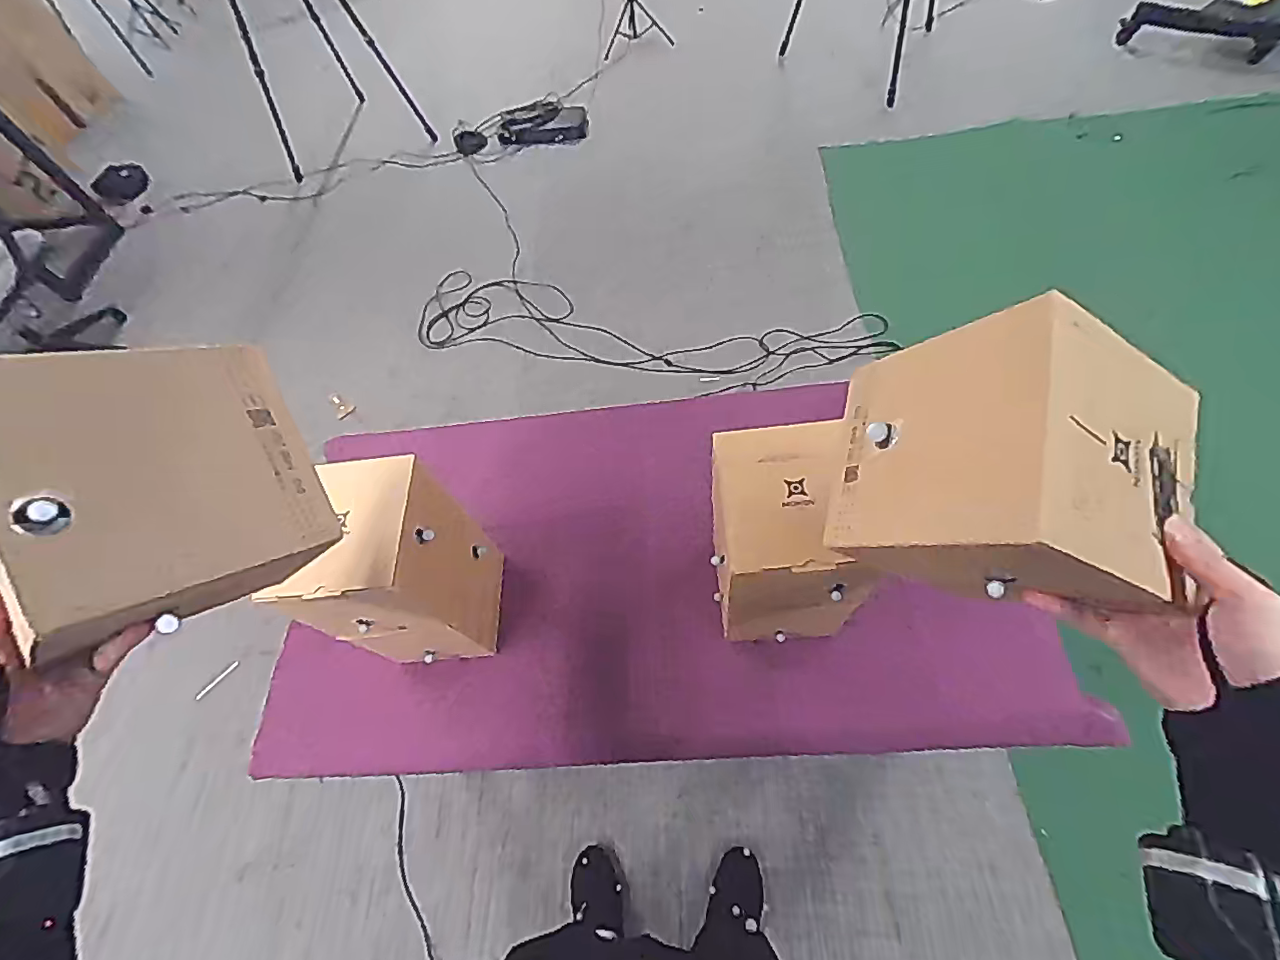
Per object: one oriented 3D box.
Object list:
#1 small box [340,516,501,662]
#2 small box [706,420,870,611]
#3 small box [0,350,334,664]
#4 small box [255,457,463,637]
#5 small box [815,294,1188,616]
[{"bbox_3d":[-0.327,0.175,0.848,0.168,0.176,0.179,-6,60,5],"label":"small box"},{"bbox_3d":[0.174,0.053,0.655,0.168,0.176,0.179,-6,59,5],"label":"small box"},{"bbox_3d":[-0.364,0.016,0.409,0.176,0.179,0.168,-23,87,-50],"label":"small box"},{"bbox_3d":[-0.347,0.093,0.709,0.168,0.176,0.179,-7,60,4],"label":"small box"},{"bbox_3d":[0.270,-0.004,0.418,0.179,0.176,0.168,21,74,-20],"label":"small box"}]
